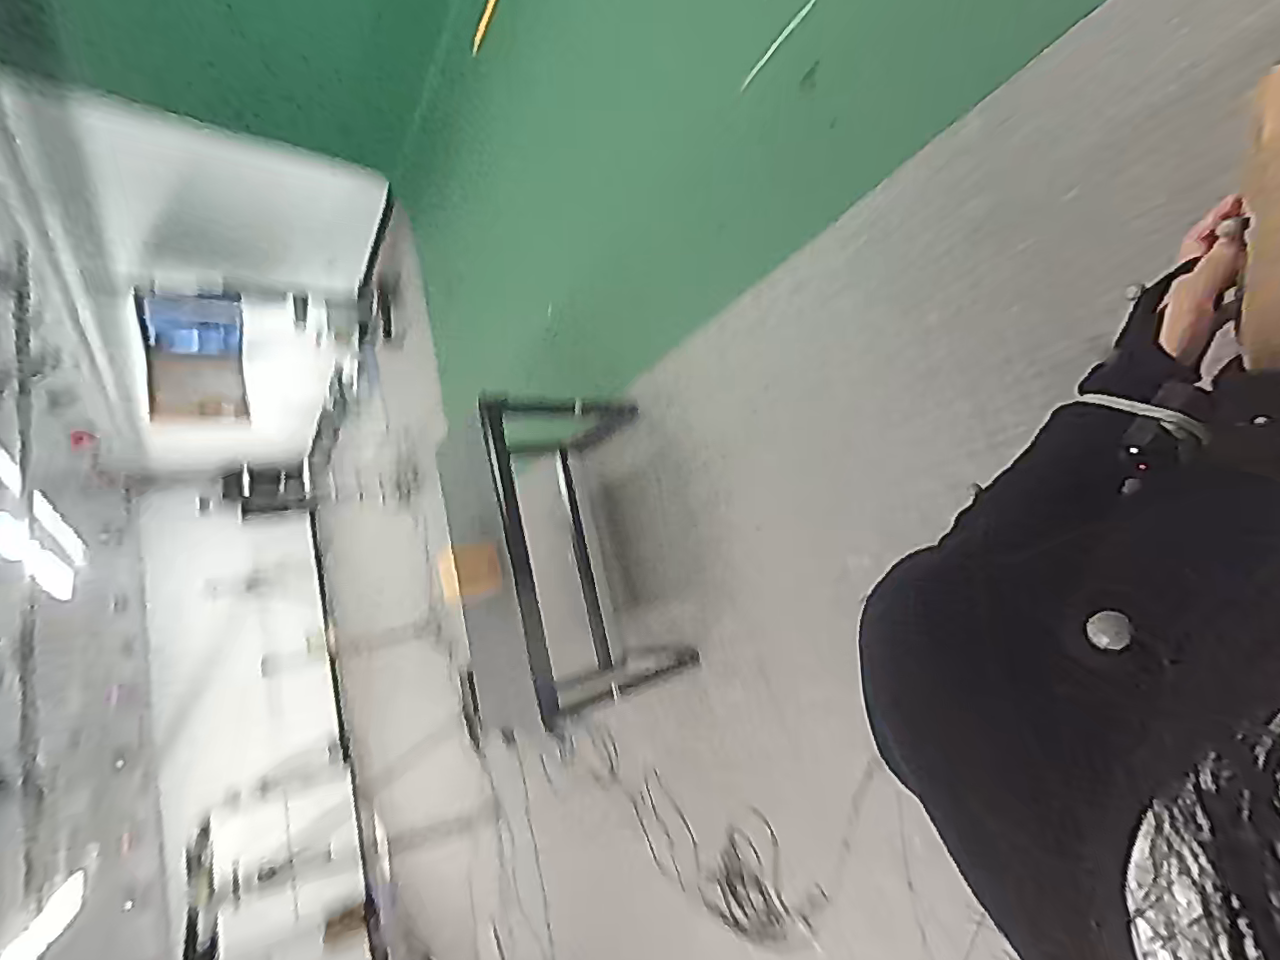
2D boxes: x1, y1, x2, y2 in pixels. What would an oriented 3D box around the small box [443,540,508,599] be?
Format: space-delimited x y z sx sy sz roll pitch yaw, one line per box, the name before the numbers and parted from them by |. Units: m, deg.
small box | -0.600 0.326 1.976 0.179 0.176 0.168 -32 70 49
